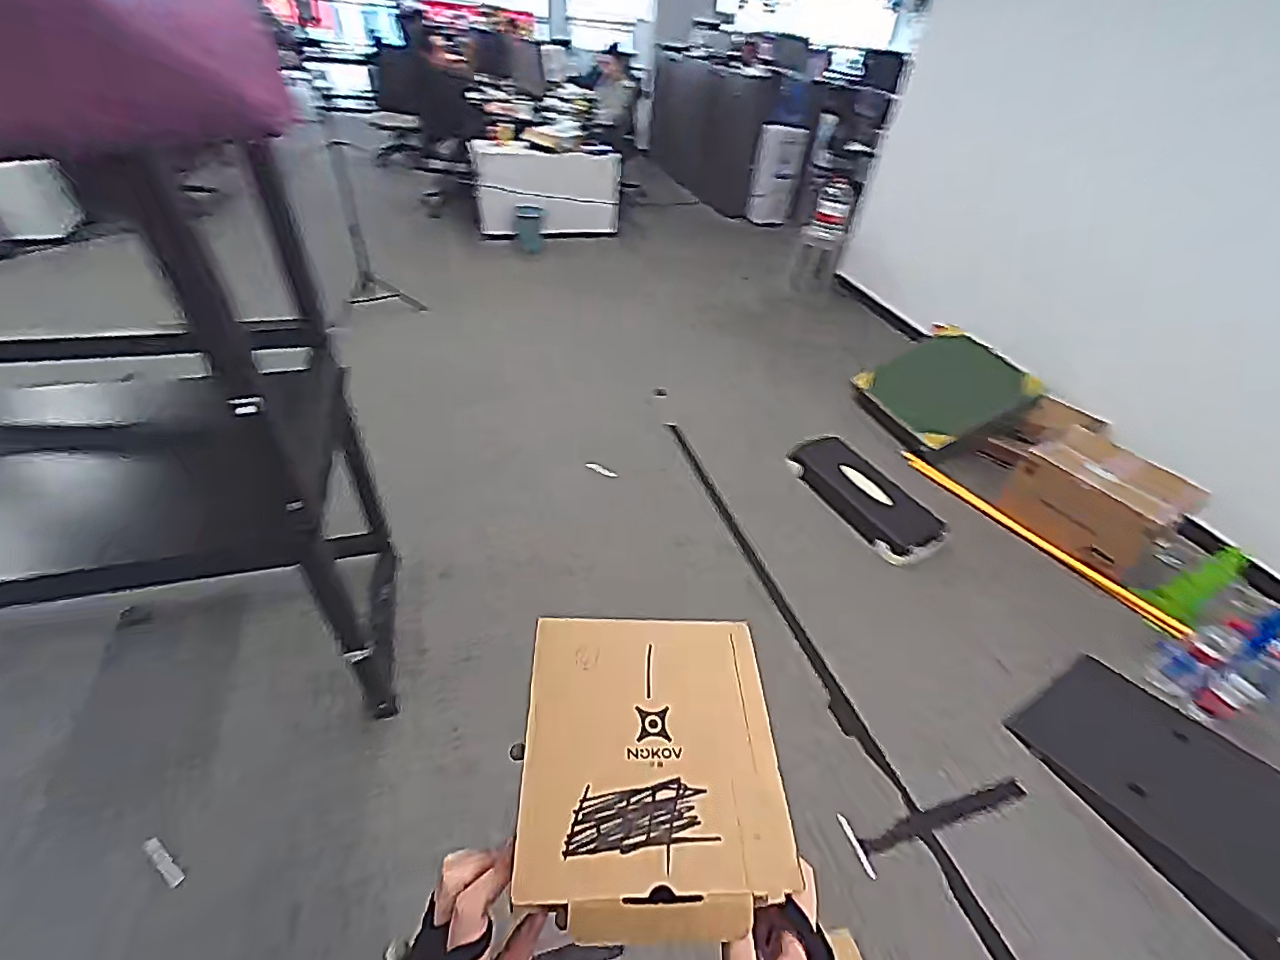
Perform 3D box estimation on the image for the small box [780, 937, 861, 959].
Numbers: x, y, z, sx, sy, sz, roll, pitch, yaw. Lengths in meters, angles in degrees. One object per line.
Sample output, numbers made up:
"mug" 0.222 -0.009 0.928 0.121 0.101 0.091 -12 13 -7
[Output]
"small box" 0.353 1.028 1.047 0.168 0.176 0.179 -6 44 -15
